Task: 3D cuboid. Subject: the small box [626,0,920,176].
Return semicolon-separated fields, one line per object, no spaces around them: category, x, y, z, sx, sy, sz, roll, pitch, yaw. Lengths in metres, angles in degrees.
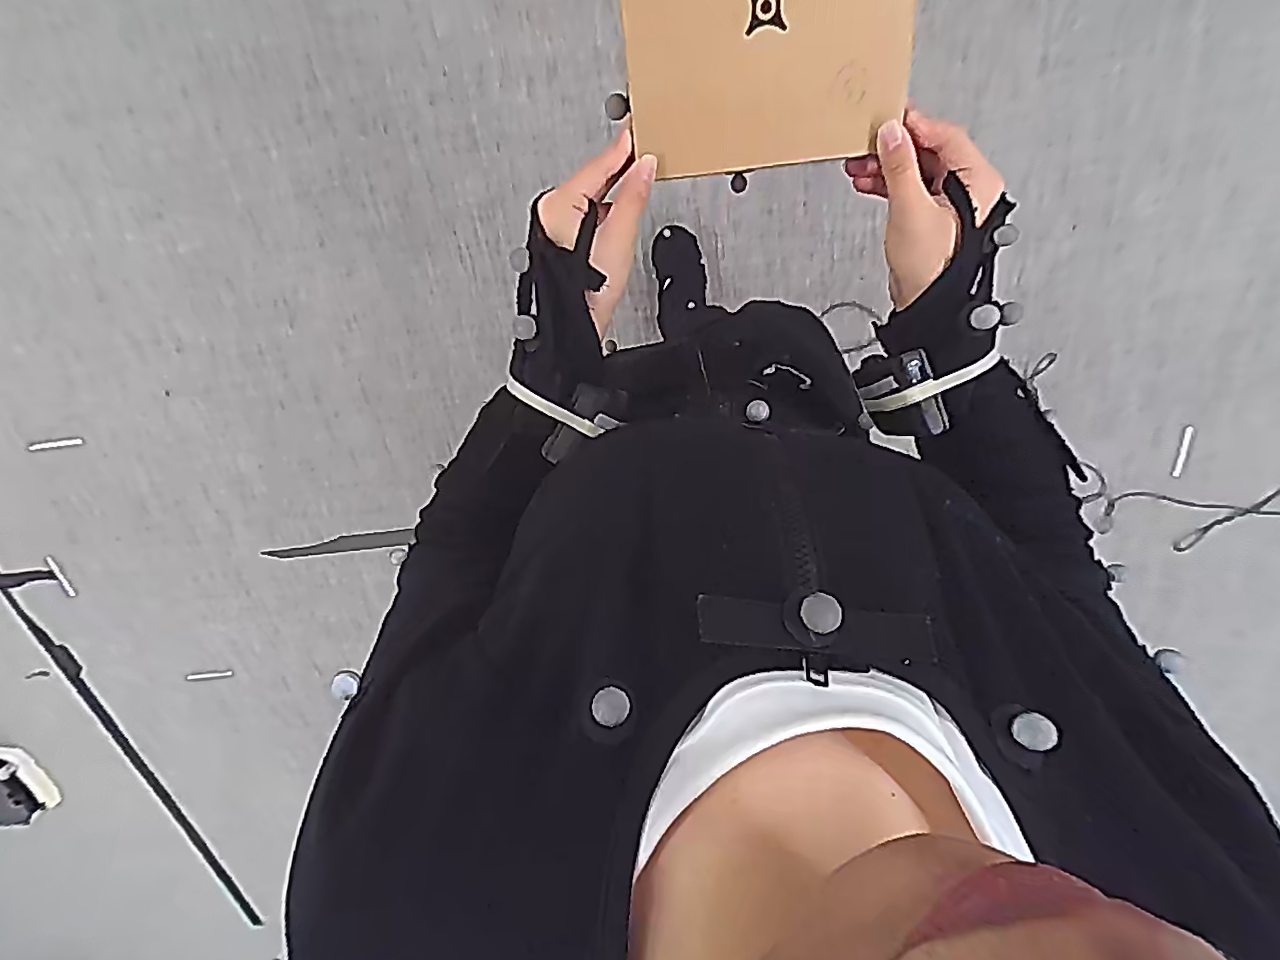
small box;0.075;-0.315;0.367;0.168;0.176;0.179;-5;119;4
